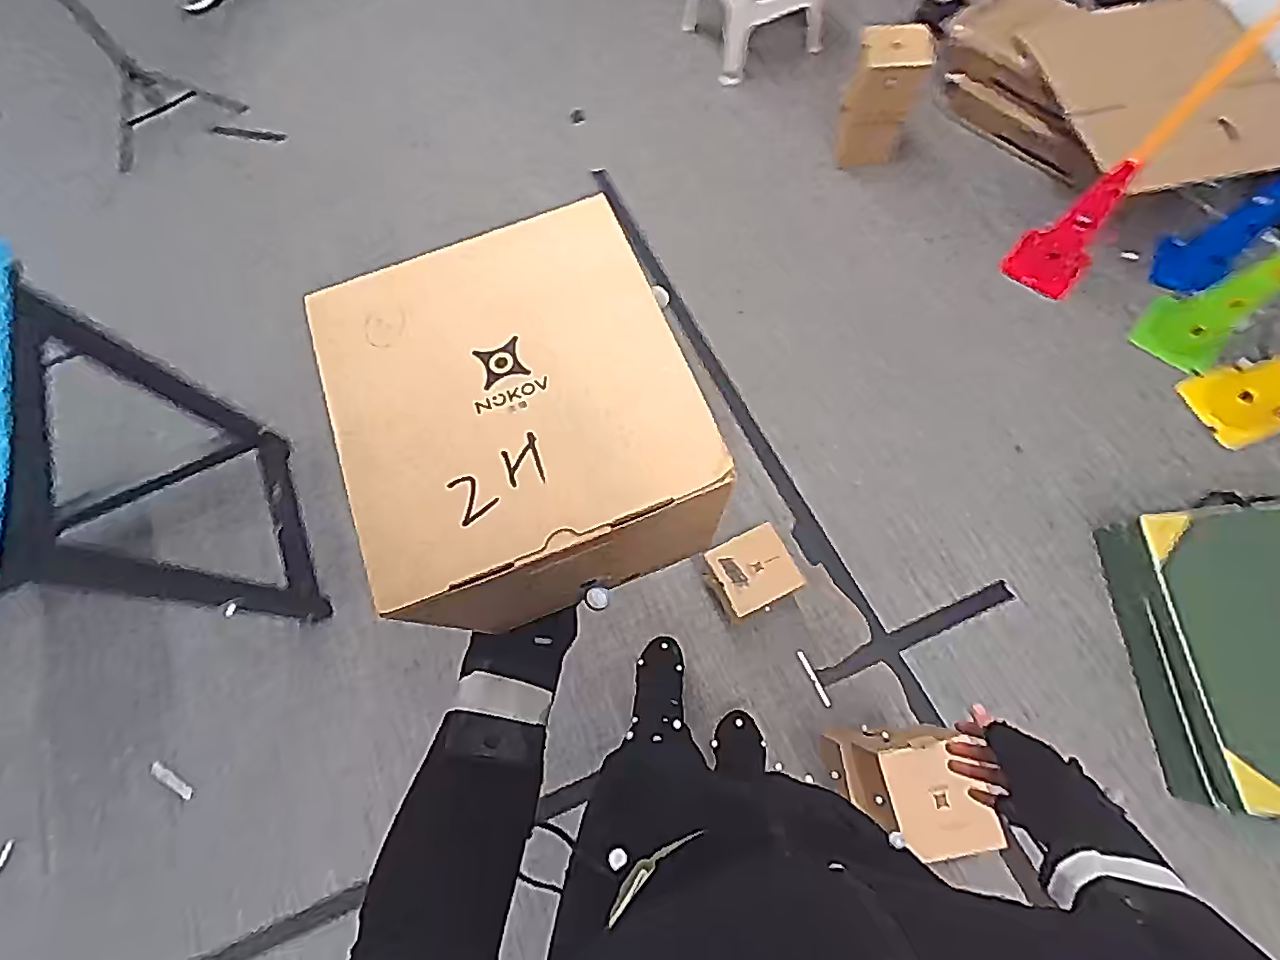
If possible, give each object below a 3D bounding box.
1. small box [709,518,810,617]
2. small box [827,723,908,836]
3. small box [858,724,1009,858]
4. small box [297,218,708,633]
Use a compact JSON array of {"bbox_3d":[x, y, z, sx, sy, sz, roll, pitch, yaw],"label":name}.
[{"bbox_3d":[0.280,0.219,1.308,0.179,0.176,0.168,-25,71,-5],"label":"small box"},{"bbox_3d":[0.515,0.625,1.152,0.168,0.176,0.179,-9,72,1],"label":"small box"},{"bbox_3d":[0.525,0.559,0.998,0.168,0.176,0.179,-11,72,2],"label":"small box"},{"bbox_3d":[-0.069,-0.014,0.334,0.168,0.176,0.179,-19,74,-2],"label":"small box"}]
